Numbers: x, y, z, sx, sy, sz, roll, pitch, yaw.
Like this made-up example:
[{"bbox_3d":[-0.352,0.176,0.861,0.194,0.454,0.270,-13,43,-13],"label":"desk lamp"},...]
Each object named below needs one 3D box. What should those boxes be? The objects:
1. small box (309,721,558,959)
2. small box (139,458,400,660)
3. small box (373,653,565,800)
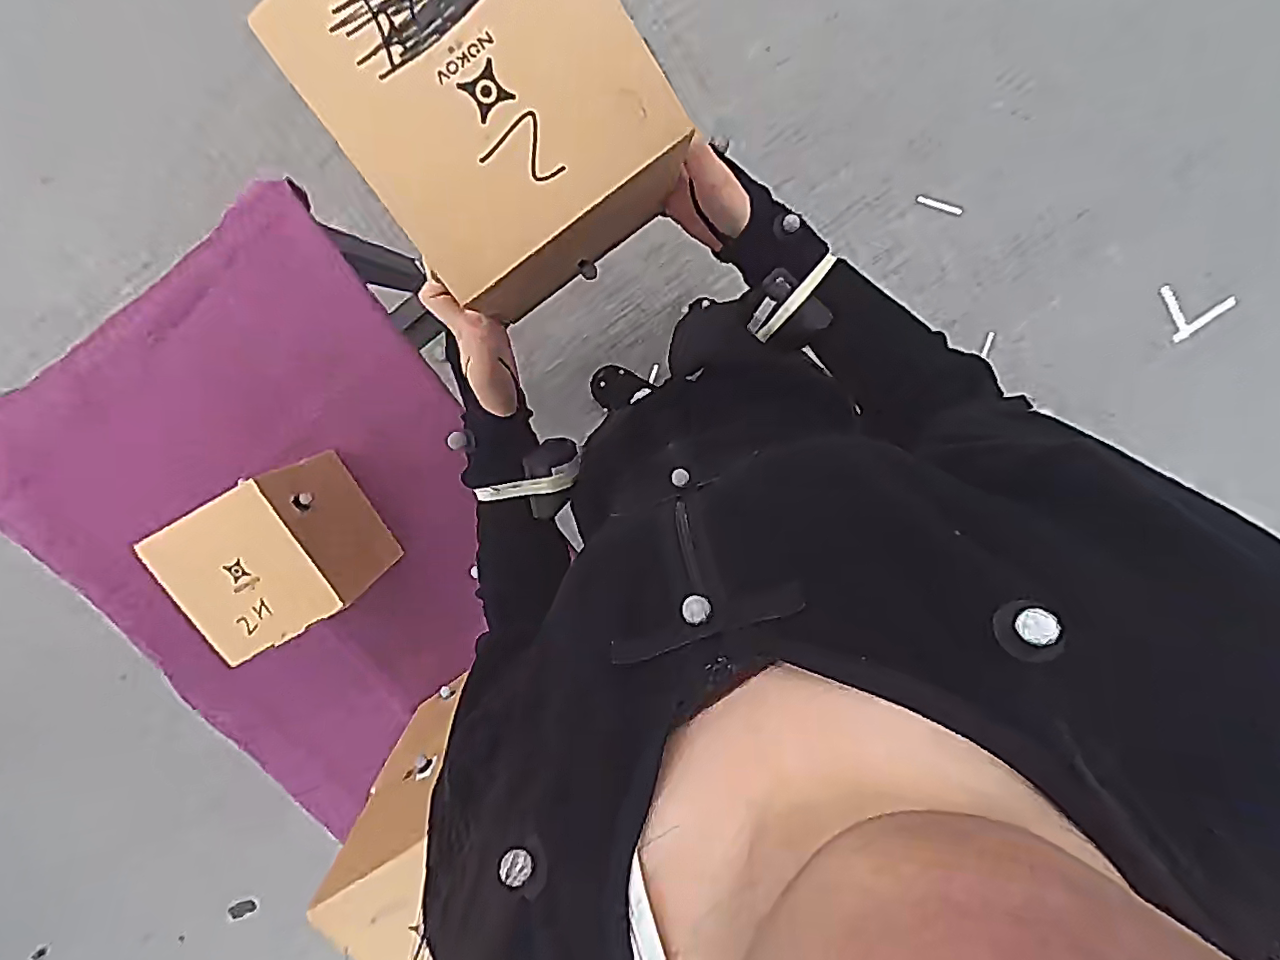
[{"bbox_3d":[-0.211,0.419,0.612,0.168,0.176,0.179,-34,101,6],"label":"small box"},{"bbox_3d":[-0.448,0.085,0.688,0.168,0.176,0.179,-27,104,7],"label":"small box"},{"bbox_3d":[-0.225,0.386,0.770,0.168,0.176,0.179,-37,101,8],"label":"small box"}]
